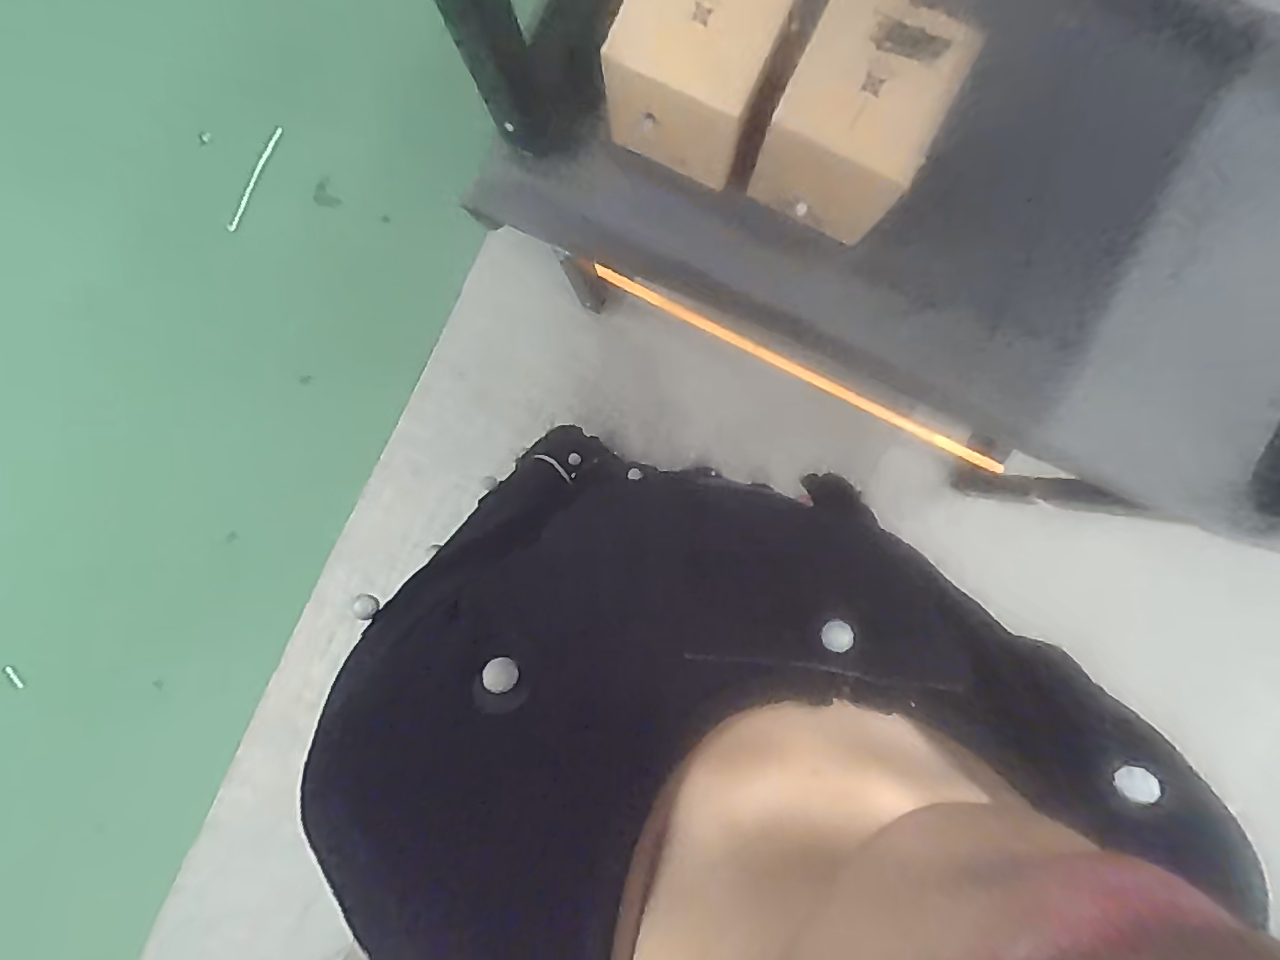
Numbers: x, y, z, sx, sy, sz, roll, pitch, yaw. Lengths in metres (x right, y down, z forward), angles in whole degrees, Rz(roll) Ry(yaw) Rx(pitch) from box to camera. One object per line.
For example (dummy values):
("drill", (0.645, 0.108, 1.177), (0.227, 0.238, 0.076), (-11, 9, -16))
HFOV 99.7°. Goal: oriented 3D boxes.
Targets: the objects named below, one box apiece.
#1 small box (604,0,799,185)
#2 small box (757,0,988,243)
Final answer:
("small box", (0.074, -0.499, 0.651), (0.168, 0.176, 0.179), (26, 92, 1))
("small box", (0.256, -0.424, 0.645), (0.168, 0.176, 0.179), (27, 93, 2))
